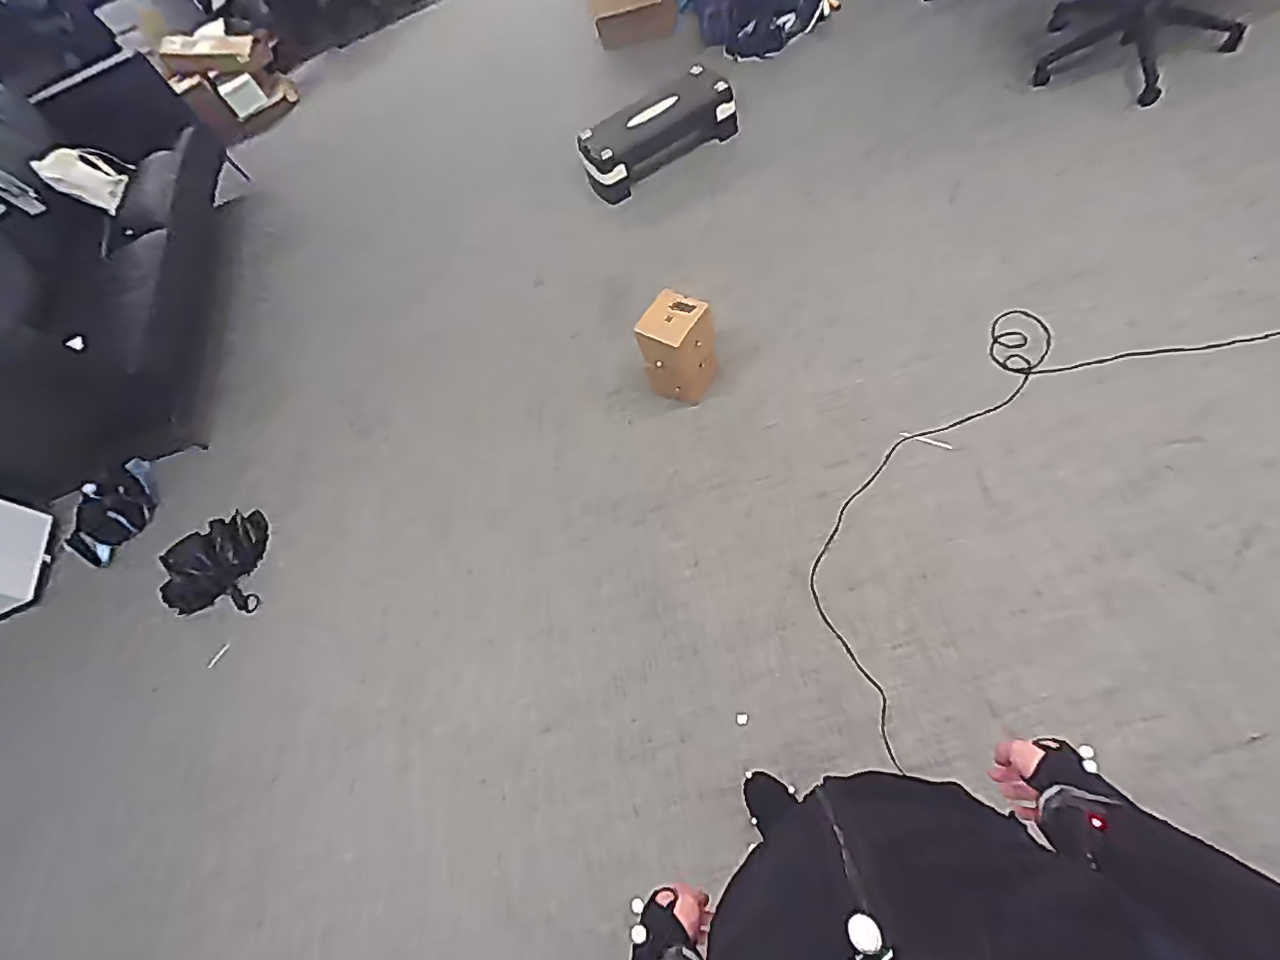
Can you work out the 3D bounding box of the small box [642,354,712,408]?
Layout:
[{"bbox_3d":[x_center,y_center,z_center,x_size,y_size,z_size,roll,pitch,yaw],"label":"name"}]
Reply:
[{"bbox_3d":[0.132,-0.370,1.821,0.168,0.176,0.179,21,70,23],"label":"small box"}]

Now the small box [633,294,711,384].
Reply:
[{"bbox_3d":[0.107,-0.433,1.671,0.168,0.176,0.179,29,76,26],"label":"small box"}]
